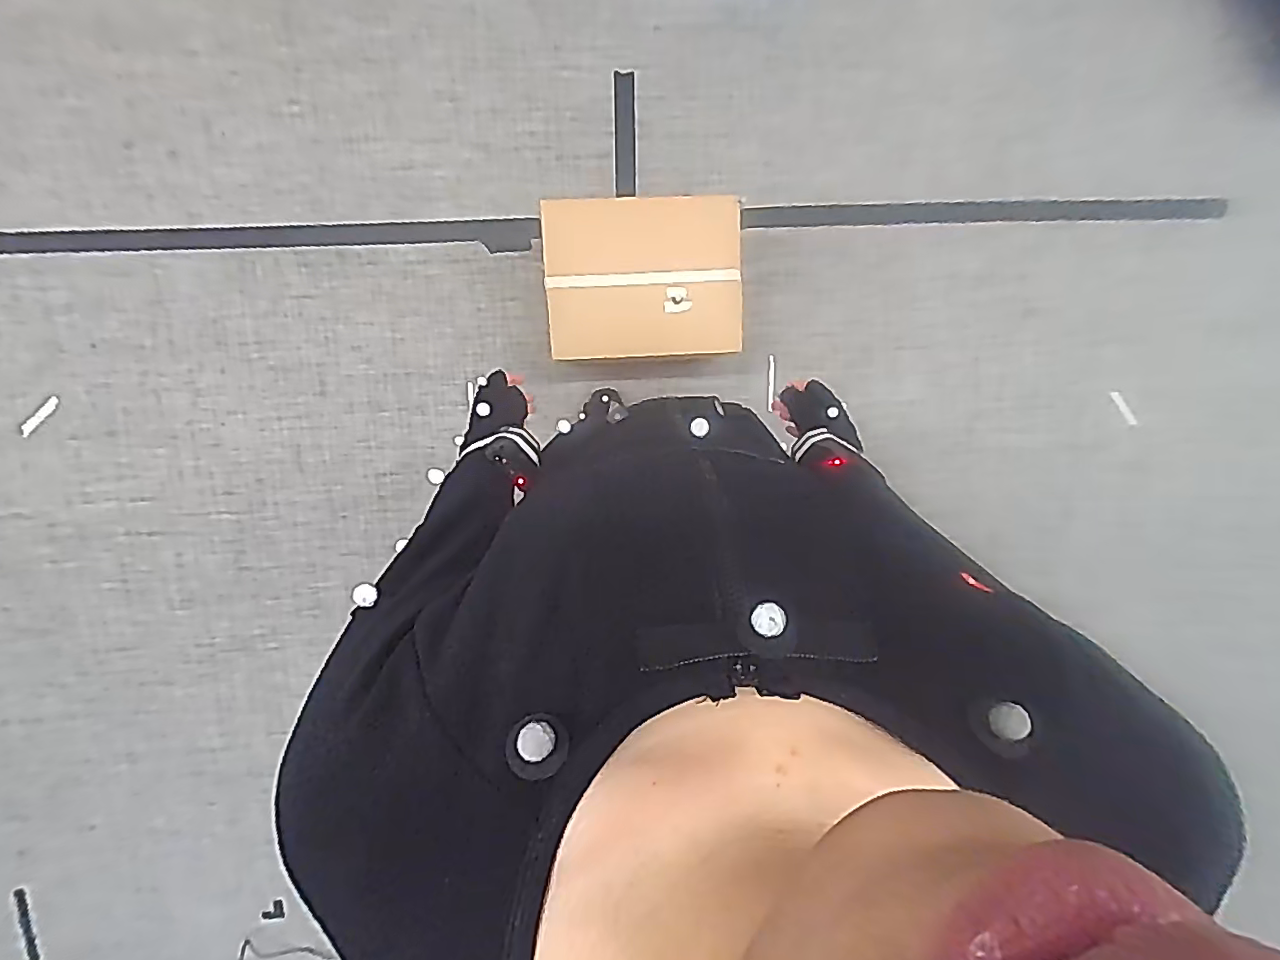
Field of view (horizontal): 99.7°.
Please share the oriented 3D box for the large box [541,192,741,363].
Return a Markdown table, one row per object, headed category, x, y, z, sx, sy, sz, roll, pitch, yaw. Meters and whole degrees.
| category | x | y | z | sx | sy | sz | roll | pitch | yaw |
| --- | --- | --- | --- | --- | --- | --- | --- | --- | --- |
| large box | -0.004 | -0.448 | 1.260 | 0.408 | 0.320 | 0.320 | -4 | 102 | -4 |
